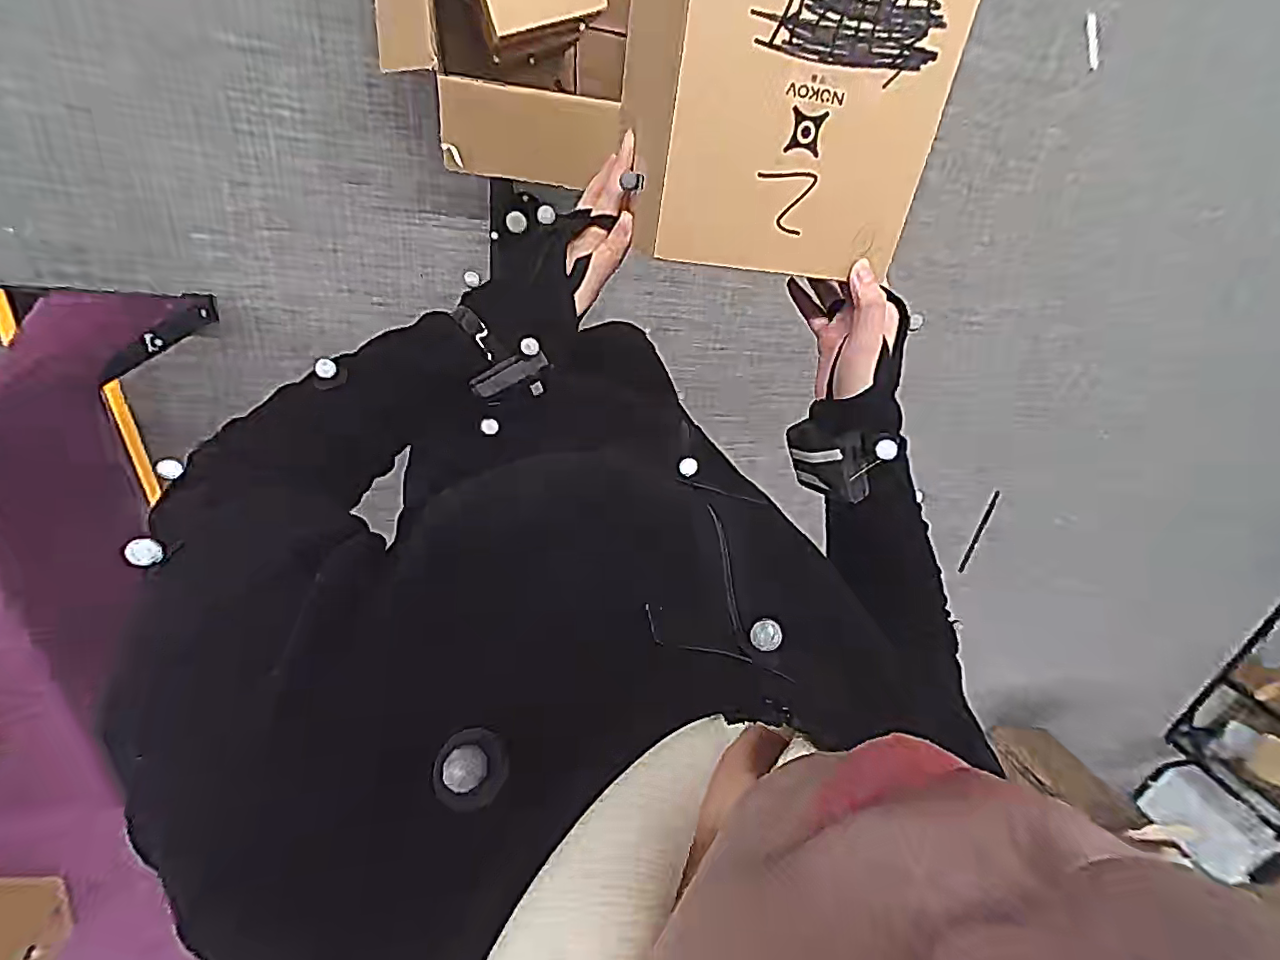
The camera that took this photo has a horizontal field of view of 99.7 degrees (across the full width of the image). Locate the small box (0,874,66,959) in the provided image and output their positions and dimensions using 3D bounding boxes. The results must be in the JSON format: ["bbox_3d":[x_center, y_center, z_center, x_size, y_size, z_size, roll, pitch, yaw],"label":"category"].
[{"bbox_3d":[-1.017,0.723,0.809,0.179,0.176,0.168,11,115,-21],"label":"small box"}]

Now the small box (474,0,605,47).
[{"bbox_3d":[-0.171,-0.778,0.809,0.179,0.176,0.168,-21,125,-7],"label":"small box"}]
